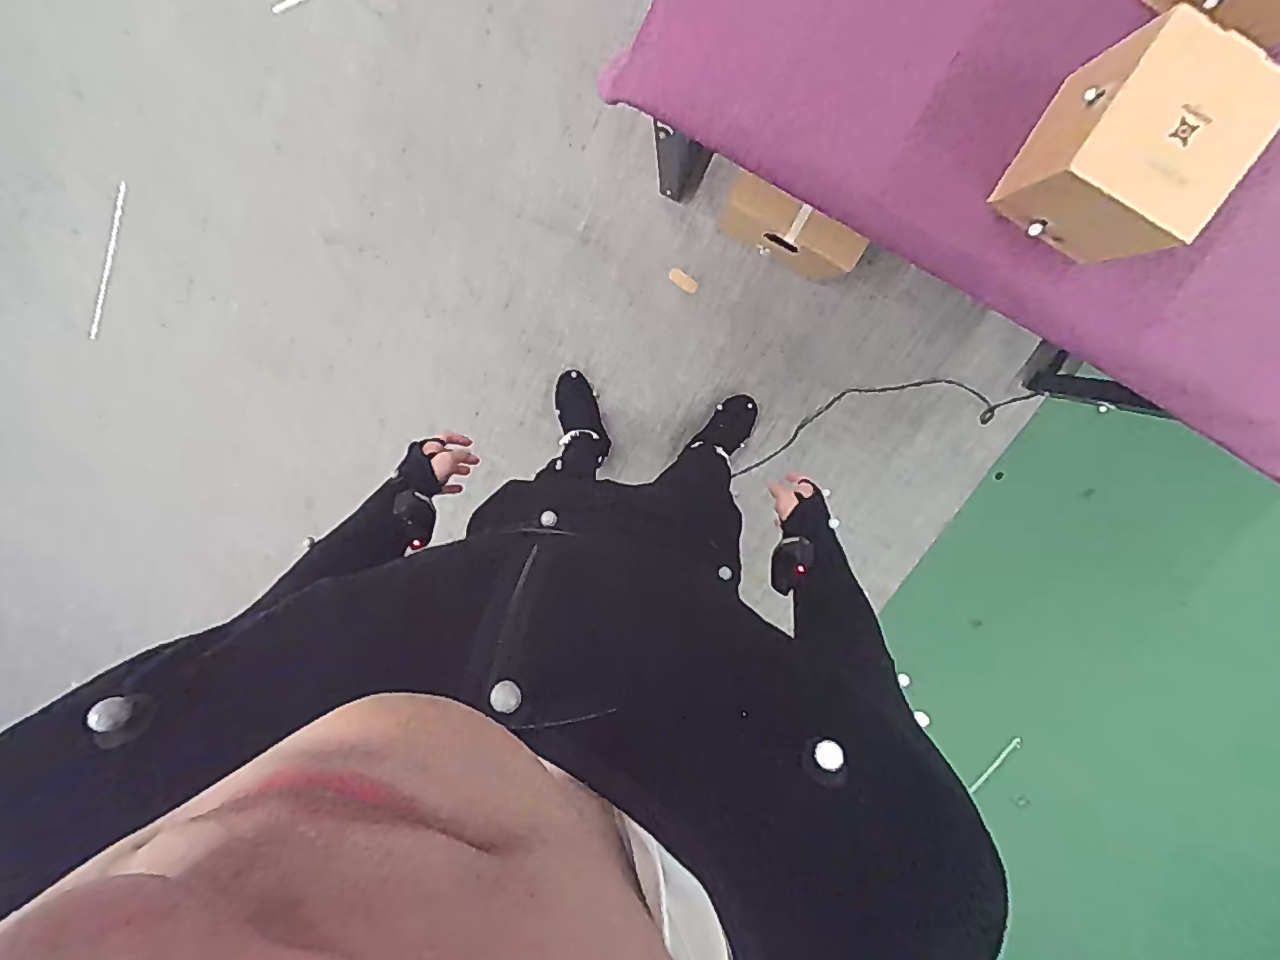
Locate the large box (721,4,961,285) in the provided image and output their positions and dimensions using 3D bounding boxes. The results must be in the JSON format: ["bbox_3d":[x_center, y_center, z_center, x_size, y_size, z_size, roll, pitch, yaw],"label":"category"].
[{"bbox_3d":[0.419,-0.718,1.243,0.320,0.320,0.408,27,104,-5],"label":"large box"}]

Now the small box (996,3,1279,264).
[{"bbox_3d":[0.575,-0.382,0.637,0.168,0.176,0.179,29,105,-4],"label":"small box"}]
